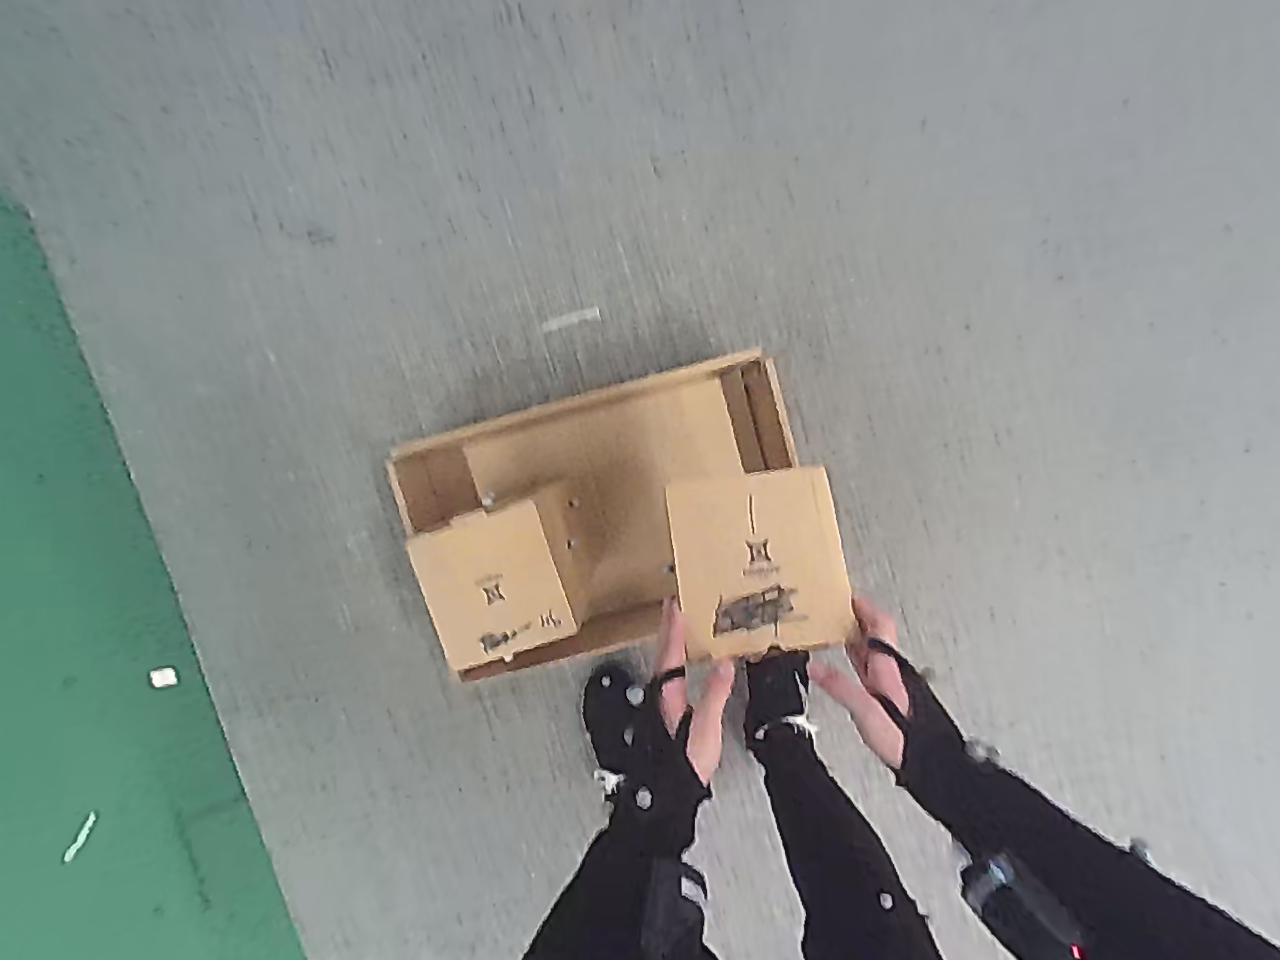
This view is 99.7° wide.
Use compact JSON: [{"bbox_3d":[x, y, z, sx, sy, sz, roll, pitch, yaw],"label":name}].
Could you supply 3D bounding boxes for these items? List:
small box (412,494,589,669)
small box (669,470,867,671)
[{"bbox_3d":[-0.175,0.122,0.732,0.168,0.176,0.179,-17,94,1],"label":"small box"},{"bbox_3d":[0.123,0.099,0.589,0.168,0.176,0.179,-7,76,1],"label":"small box"}]
